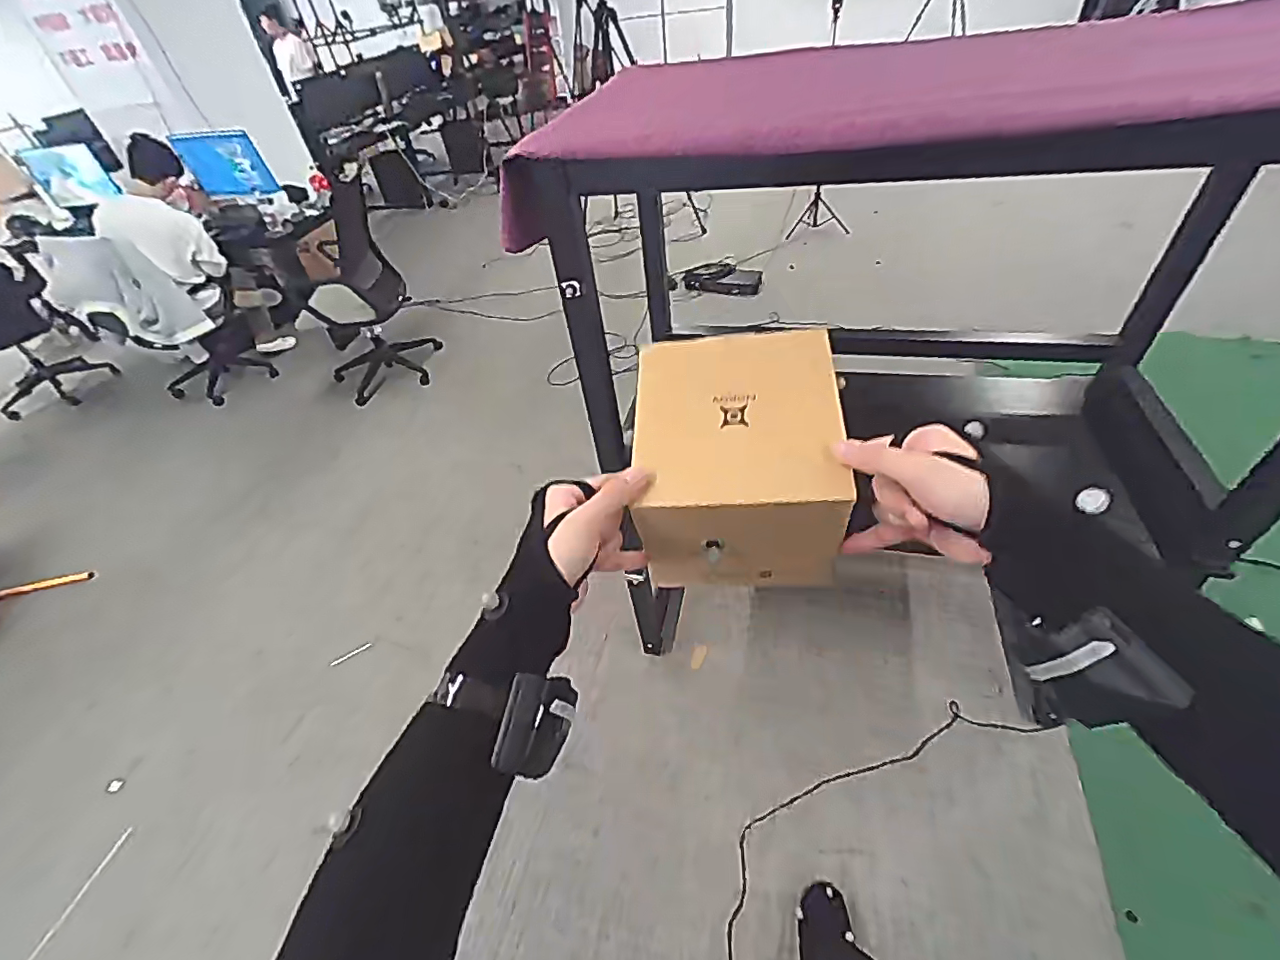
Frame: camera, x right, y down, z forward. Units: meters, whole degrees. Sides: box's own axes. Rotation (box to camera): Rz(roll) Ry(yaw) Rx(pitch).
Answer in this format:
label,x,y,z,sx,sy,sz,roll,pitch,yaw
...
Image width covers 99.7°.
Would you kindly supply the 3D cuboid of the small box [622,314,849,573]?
label,x,y,z,sx,sy,sz,roll,pitch,yaw
small box,0.086,-0.021,0.496,0.168,0.176,0.179,-3,57,10
